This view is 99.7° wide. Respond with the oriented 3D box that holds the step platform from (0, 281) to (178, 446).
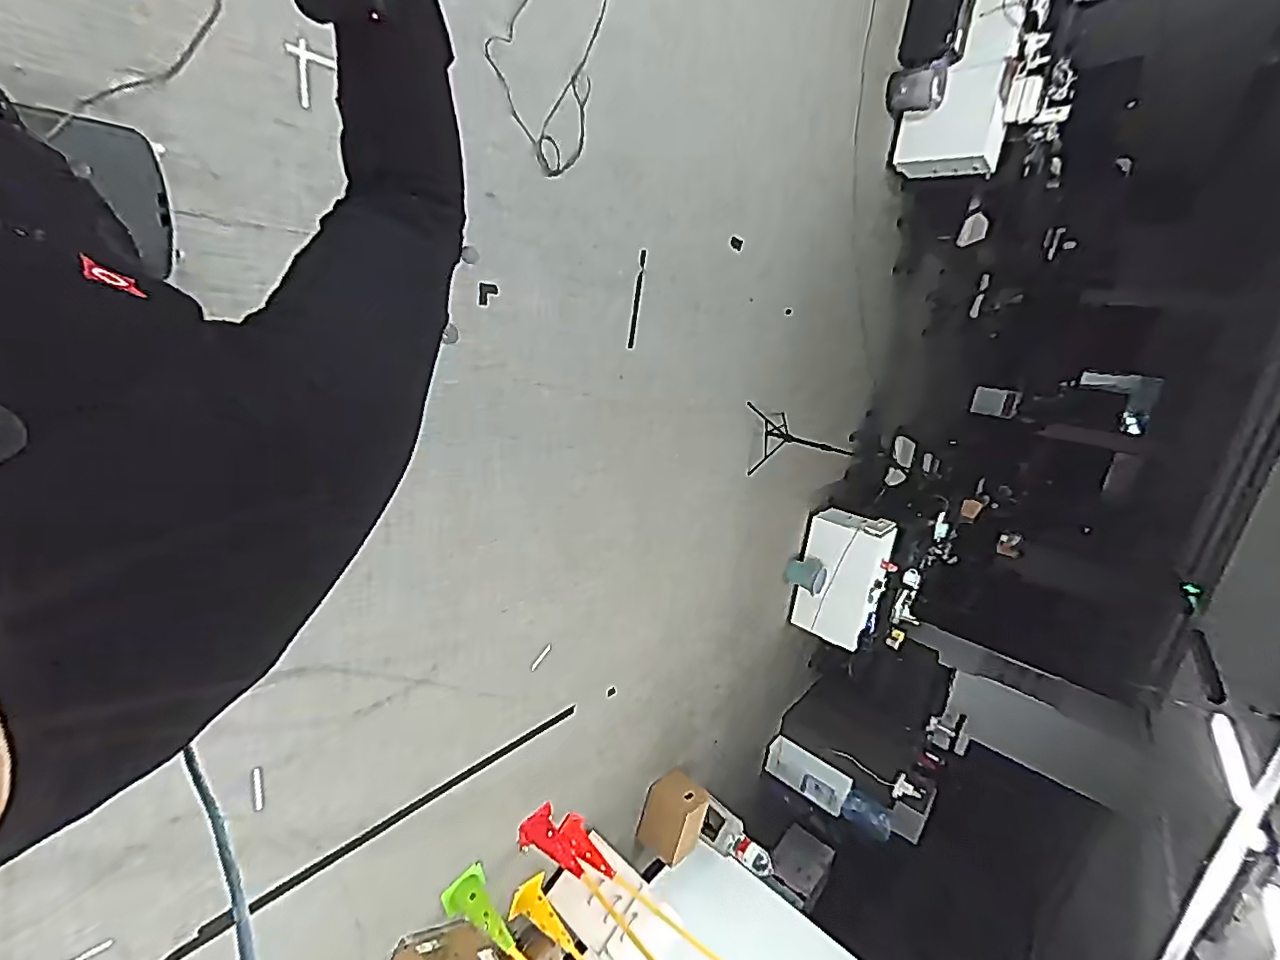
[{"bbox_3d":[-1.218,-0.198,0.900,0.684,0.204,0.286,-14,116,-46],"label":"step platform"}]
